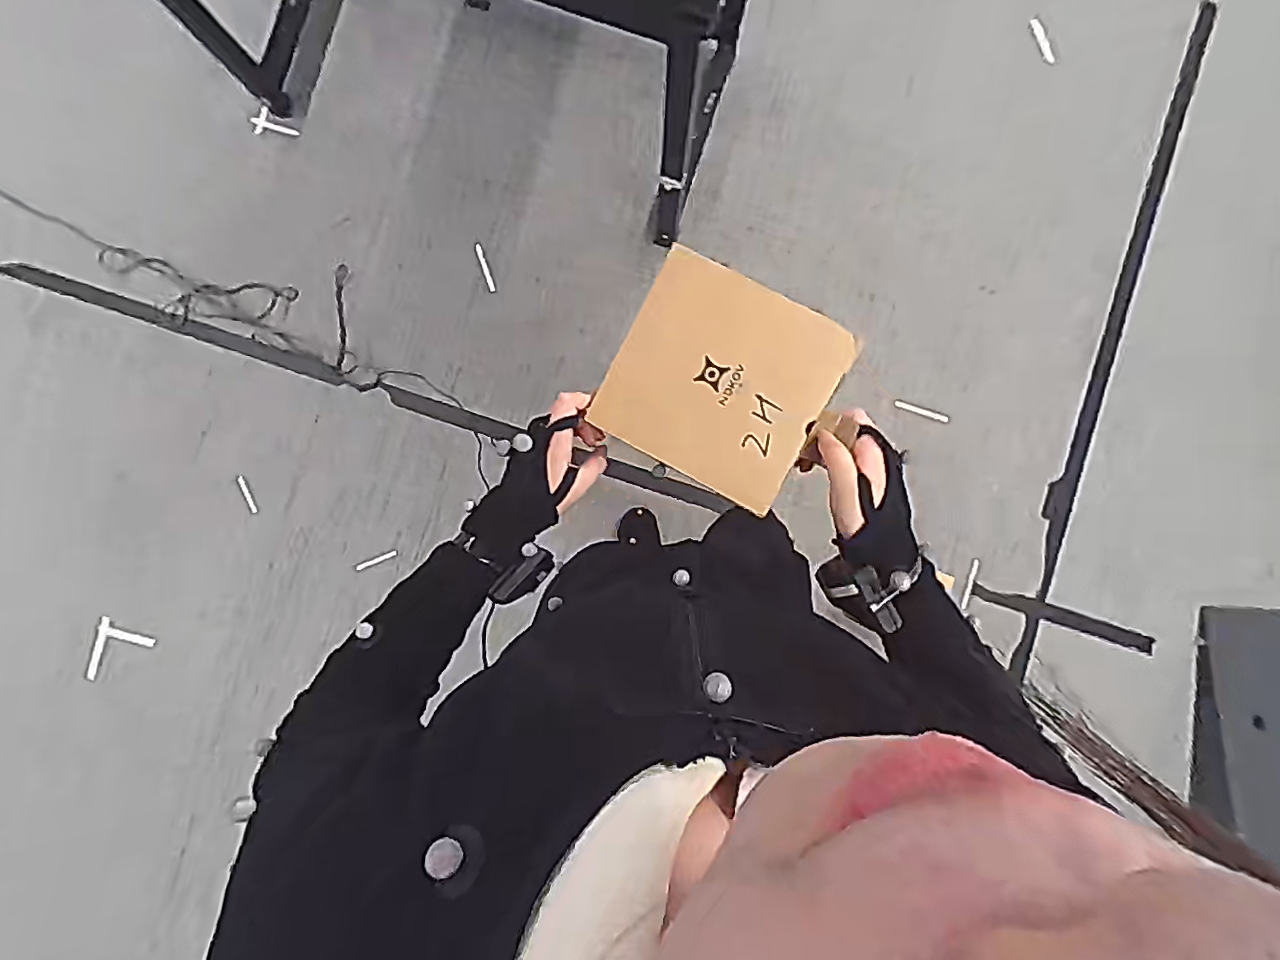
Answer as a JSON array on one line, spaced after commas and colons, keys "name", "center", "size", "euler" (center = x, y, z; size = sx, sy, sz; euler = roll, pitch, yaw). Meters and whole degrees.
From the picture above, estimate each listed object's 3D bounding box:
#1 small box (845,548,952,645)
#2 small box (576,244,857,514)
[{"name": "small box", "center": [0.658, 0.293, 1.402], "size": [0.168, 0.176, 0.179], "euler": [23, 90, 0]}, {"name": "small box", "center": [0.067, -0.084, 0.514], "size": [0.179, 0.176, 0.168], "euler": [28, 96, 5]}]
